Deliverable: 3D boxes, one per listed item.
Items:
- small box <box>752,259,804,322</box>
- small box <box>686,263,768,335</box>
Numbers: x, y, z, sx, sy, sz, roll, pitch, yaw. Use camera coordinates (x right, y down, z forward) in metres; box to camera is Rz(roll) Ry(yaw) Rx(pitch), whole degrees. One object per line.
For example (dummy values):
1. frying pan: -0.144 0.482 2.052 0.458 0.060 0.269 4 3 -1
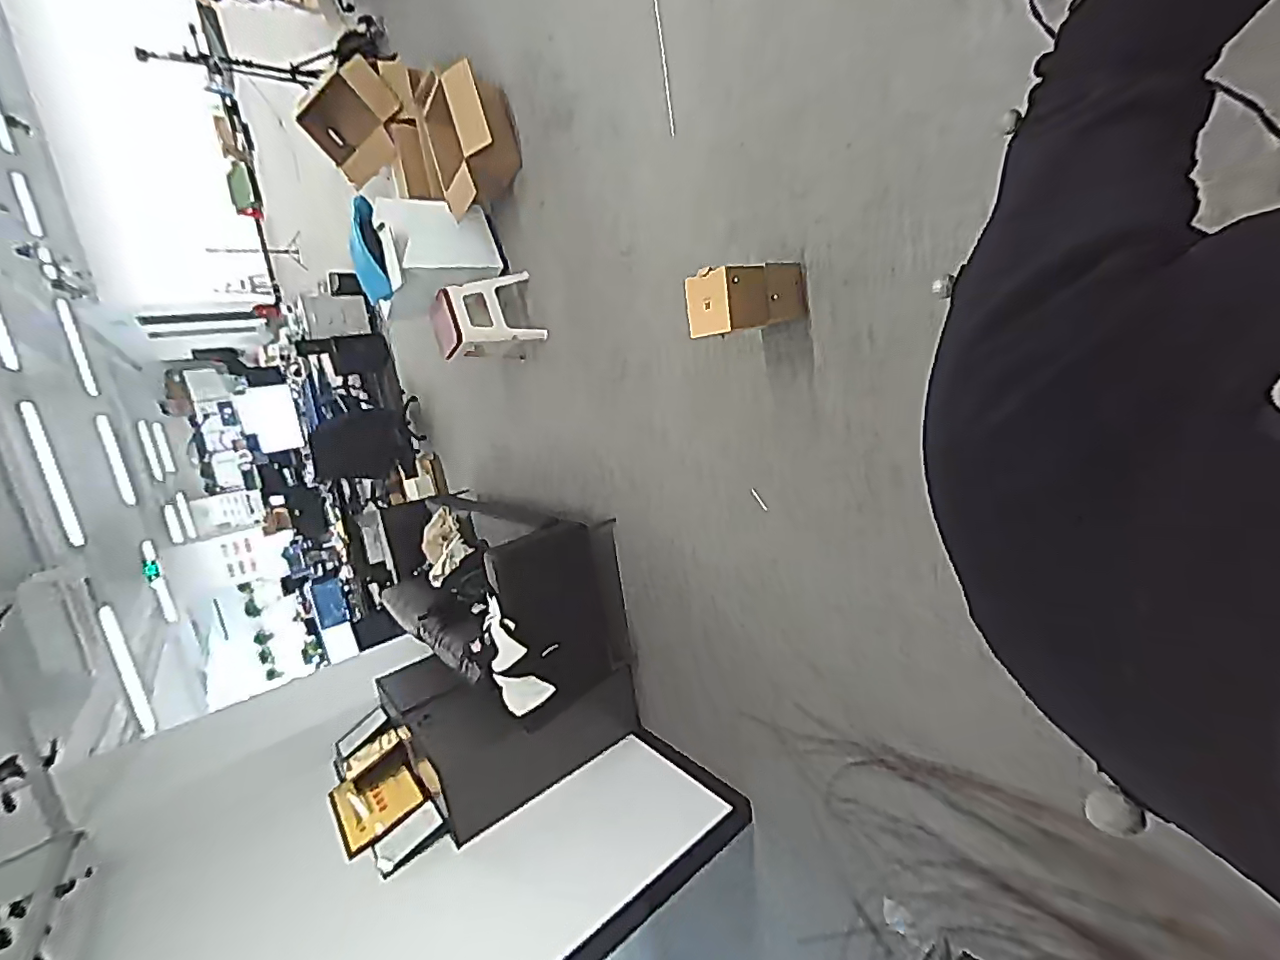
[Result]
1. small box: 0.387 -0.582 1.686 0.179 0.176 0.168 7 109 52
2. small box: 0.260 -0.532 1.595 0.168 0.176 0.179 7 108 52
